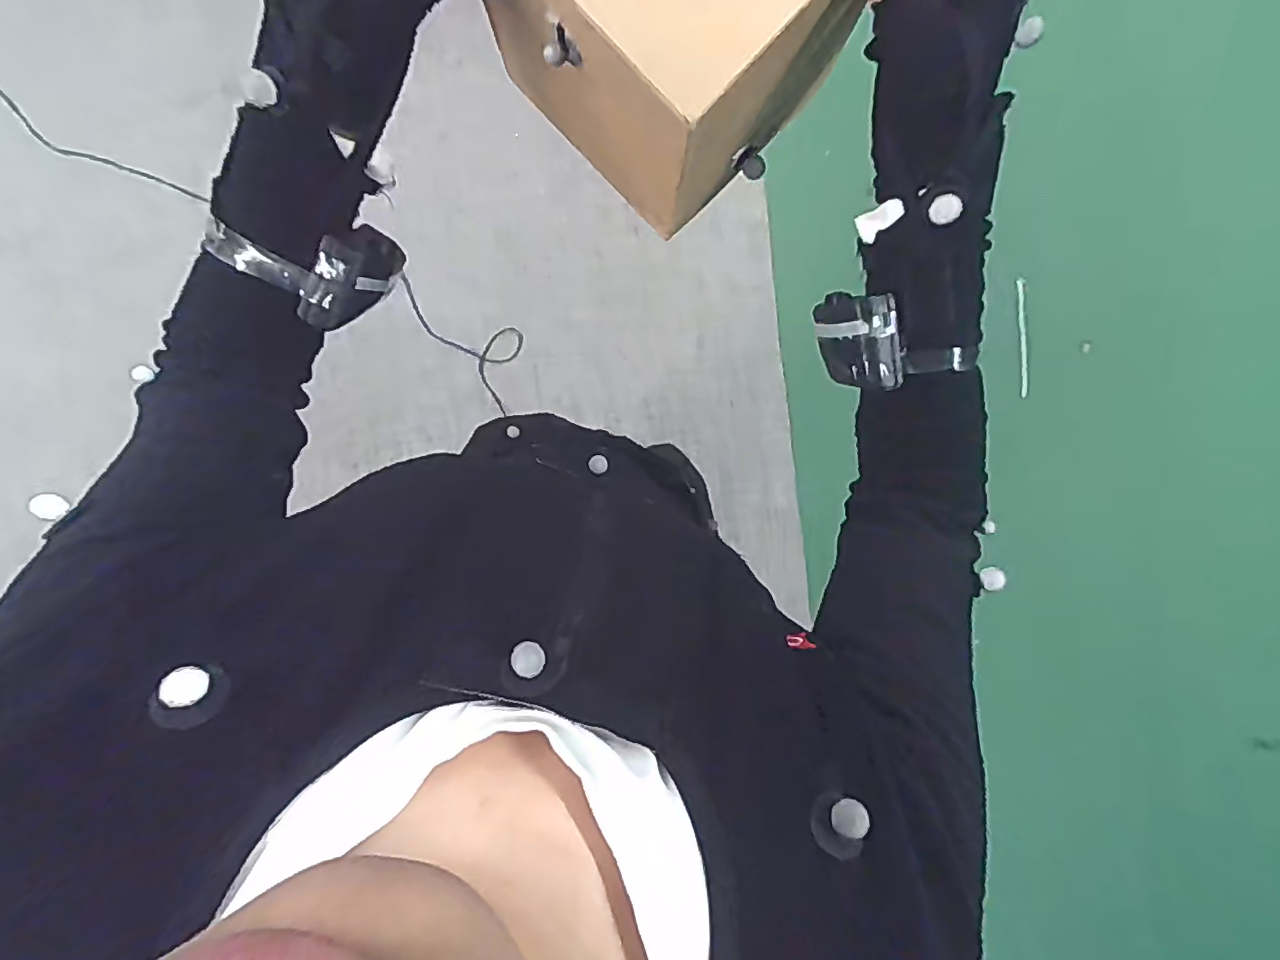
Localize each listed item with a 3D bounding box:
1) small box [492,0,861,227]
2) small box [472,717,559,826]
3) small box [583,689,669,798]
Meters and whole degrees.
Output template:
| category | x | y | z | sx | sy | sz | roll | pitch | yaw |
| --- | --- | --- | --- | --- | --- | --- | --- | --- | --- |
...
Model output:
| category | x | y | z | sx | sy | sz | roll | pitch | yaw |
| --- | --- | --- | --- | --- | --- | --- | --- | --- | --- |
| small box | 0.018 | -0.296 | 0.330 | 0.168 | 0.176 | 0.179 | -45 | 94 | 3 |
| small box | -0.306 | 0.728 | 1.370 | 0.179 | 0.176 | 0.168 | -11 | 95 | -2 |
| small box | -0.032 | 0.663 | 1.376 | 0.179 | 0.176 | 0.168 | -16 | 96 | 1 |
